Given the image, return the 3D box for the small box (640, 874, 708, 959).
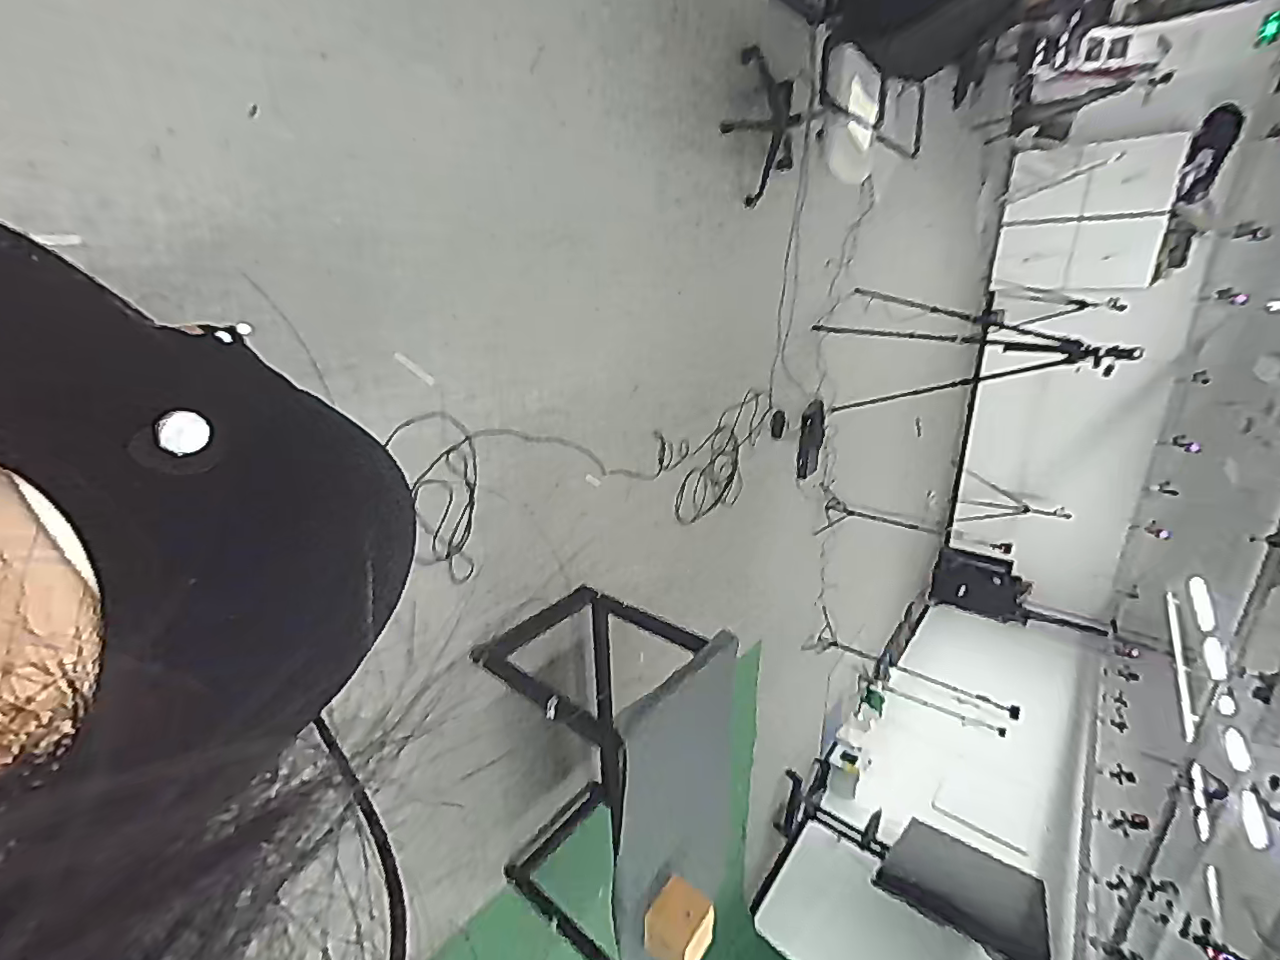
[{"bbox_3d":[0.112,1.494,1.818,0.179,0.176,0.168,-24,120,-48],"label":"small box"}]
